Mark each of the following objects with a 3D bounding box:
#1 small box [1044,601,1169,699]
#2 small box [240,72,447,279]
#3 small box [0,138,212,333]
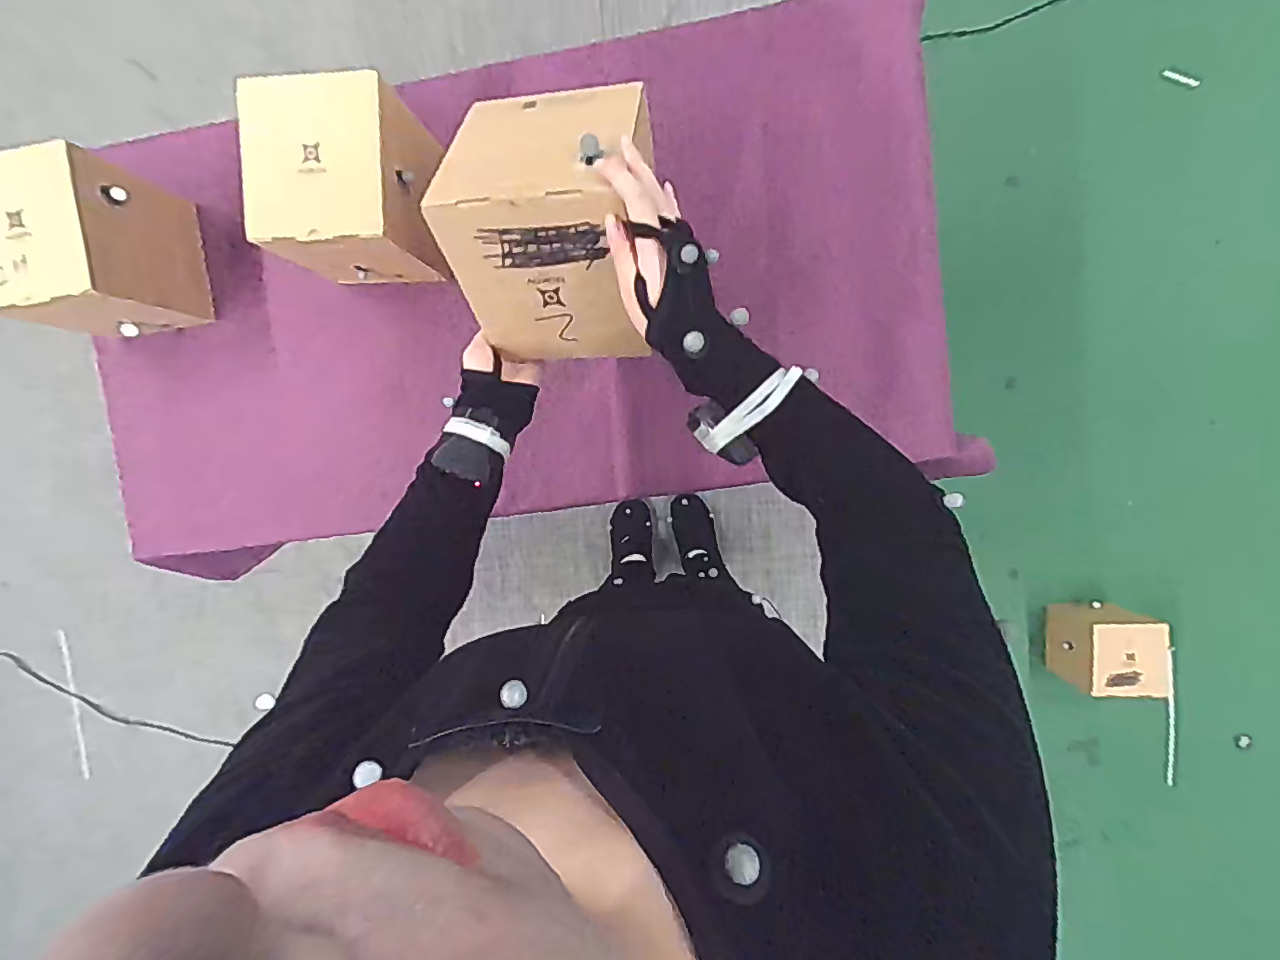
[{"bbox_3d":[1.131,0.411,1.326,0.168,0.176,0.179,-1,98,6],"label":"small box"},{"bbox_3d":[-0.356,-0.365,0.678,0.168,0.176,0.179,1,96,5],"label":"small box"},{"bbox_3d":[-0.717,-0.305,0.712,0.168,0.176,0.179,-7,94,6],"label":"small box"}]
